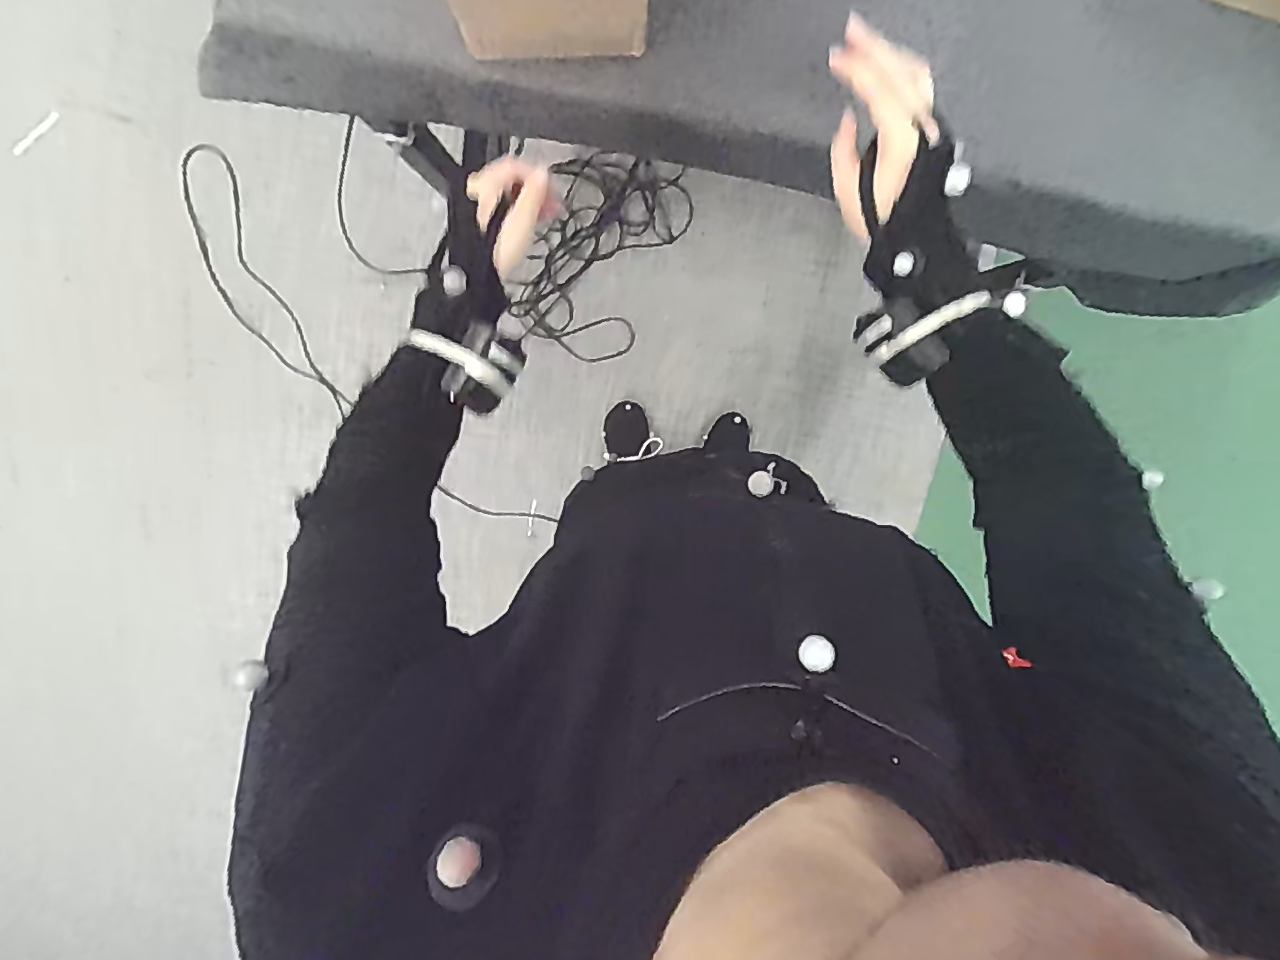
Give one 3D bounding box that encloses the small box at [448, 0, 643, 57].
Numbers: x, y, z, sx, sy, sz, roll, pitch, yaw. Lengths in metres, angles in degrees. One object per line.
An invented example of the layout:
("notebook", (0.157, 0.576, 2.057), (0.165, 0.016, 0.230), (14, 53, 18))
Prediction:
("small box", (-0.083, -0.494, 0.454), (0.179, 0.176, 0.168), (-2, 100, -1))
